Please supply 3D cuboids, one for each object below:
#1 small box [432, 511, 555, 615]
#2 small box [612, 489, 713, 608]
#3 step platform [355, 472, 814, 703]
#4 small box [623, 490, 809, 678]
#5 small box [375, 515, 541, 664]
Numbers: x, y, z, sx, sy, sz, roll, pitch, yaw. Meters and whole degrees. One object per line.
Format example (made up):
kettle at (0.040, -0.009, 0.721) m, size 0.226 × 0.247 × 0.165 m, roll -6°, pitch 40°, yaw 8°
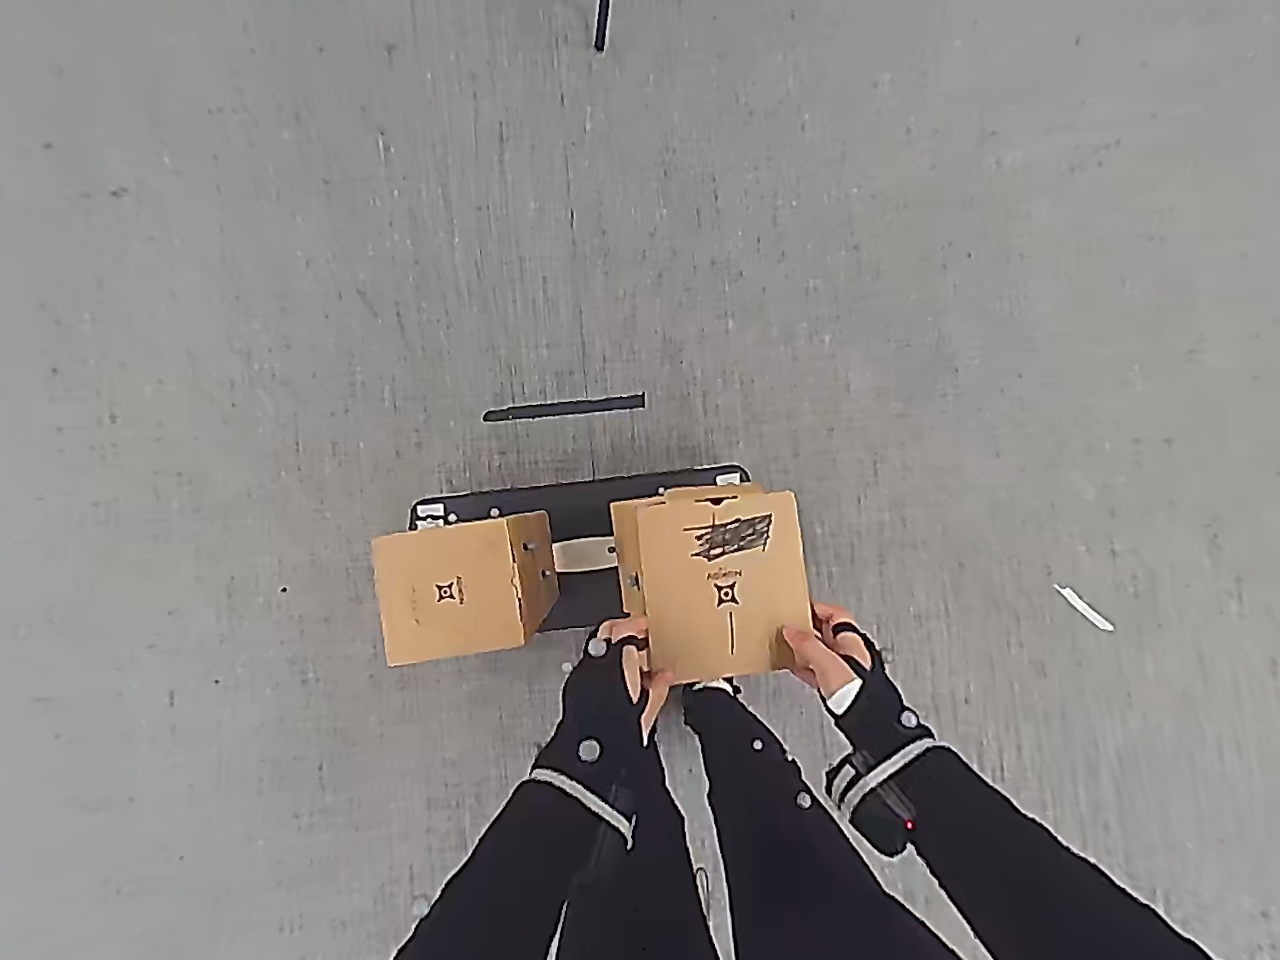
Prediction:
small box at (-0.246, 0.146, 0.929) m, size 0.179 × 0.176 × 0.168 m, roll -8°, pitch 89°, yaw -1°
small box at (0.043, 0.112, 0.936) m, size 0.168 × 0.176 × 0.179 m, roll -7°, pitch 89°, yaw 0°
step platform at (-0.083, 0.163, 0.897) m, size 0.684 × 0.204 × 0.286 m, roll -6°, pitch 88°, yaw -2°
small box at (0.074, 0.114, 0.626) m, size 0.168 × 0.176 × 0.179 m, roll -5°, pitch 83°, yaw -7°
small box at (-0.242, 0.143, 0.766) m, size 0.179 × 0.176 × 0.168 m, roll -9°, pitch 88°, yaw -2°
